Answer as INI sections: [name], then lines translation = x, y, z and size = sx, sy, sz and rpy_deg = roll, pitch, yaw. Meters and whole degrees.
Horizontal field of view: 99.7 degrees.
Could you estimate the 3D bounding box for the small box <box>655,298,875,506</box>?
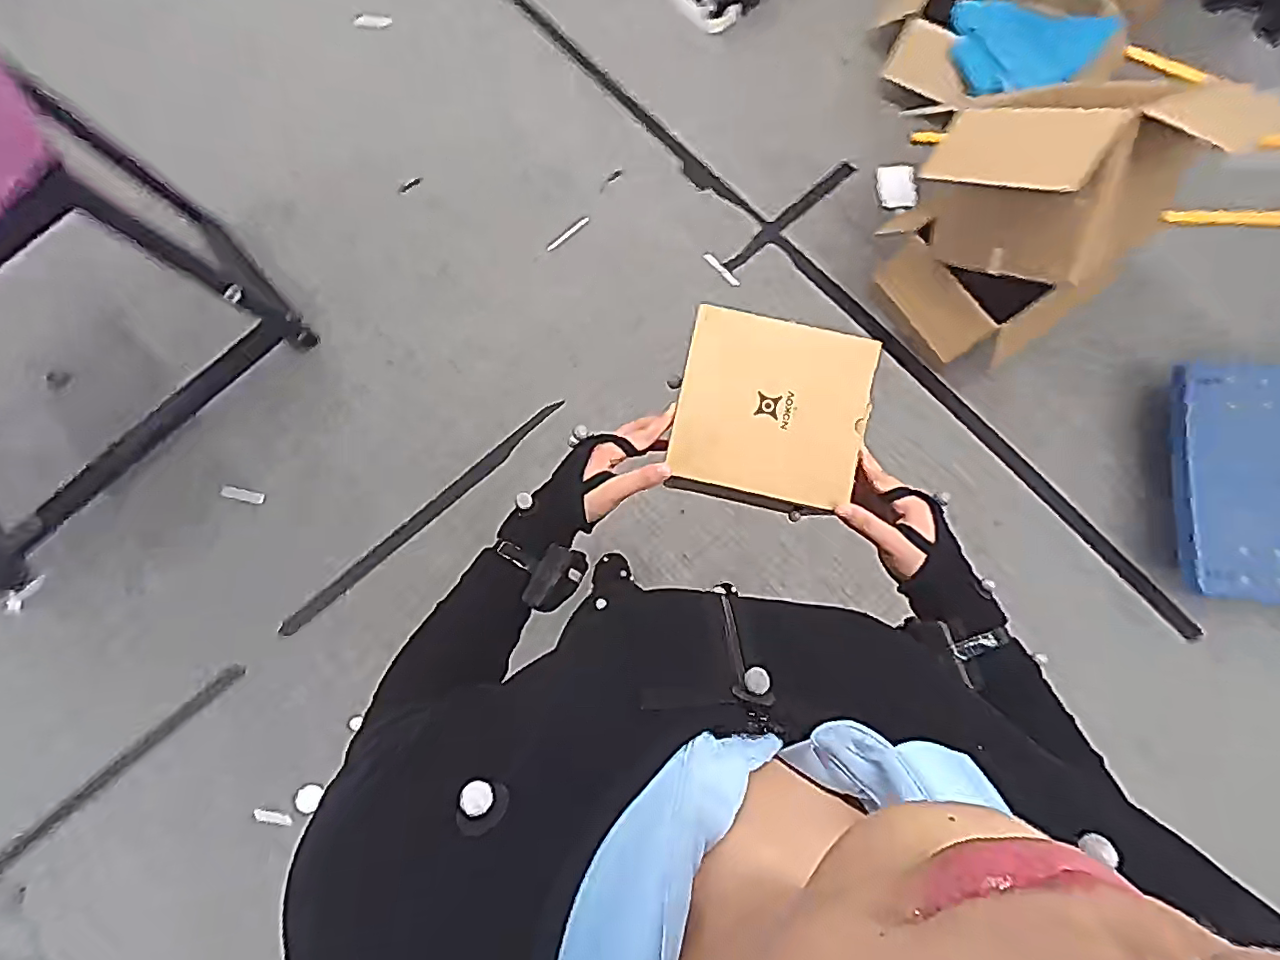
[small box]
translation = 0.115, -0.068, 0.572
size = 0.179, 0.176, 0.168
rpy_deg = 12, 86, 1
